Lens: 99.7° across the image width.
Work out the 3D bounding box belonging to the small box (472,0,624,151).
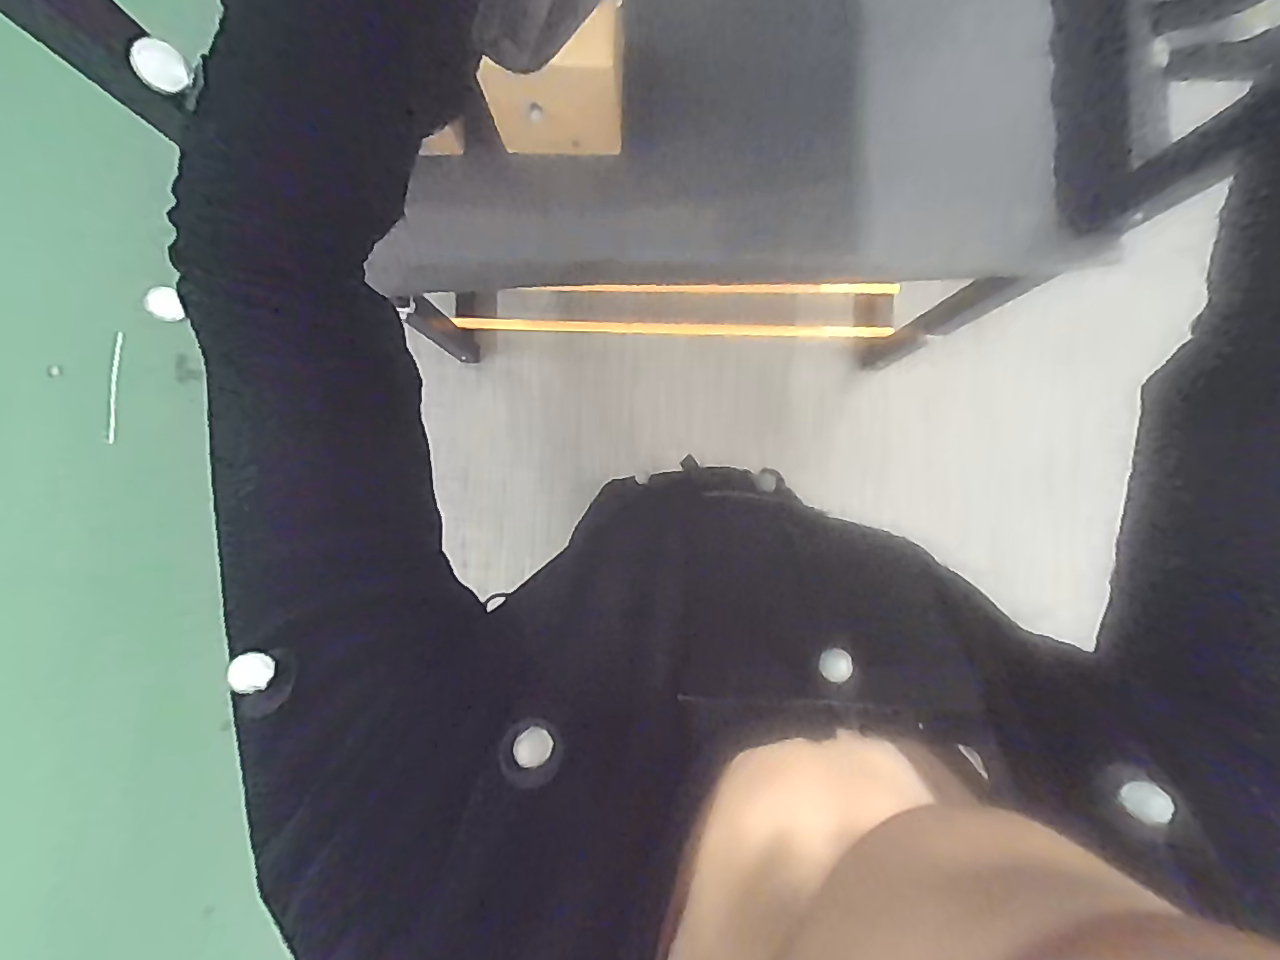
[{"bbox_3d":[-0.108,-0.559,0.701,0.168,0.176,0.179,1,87,1],"label":"small box"}]
